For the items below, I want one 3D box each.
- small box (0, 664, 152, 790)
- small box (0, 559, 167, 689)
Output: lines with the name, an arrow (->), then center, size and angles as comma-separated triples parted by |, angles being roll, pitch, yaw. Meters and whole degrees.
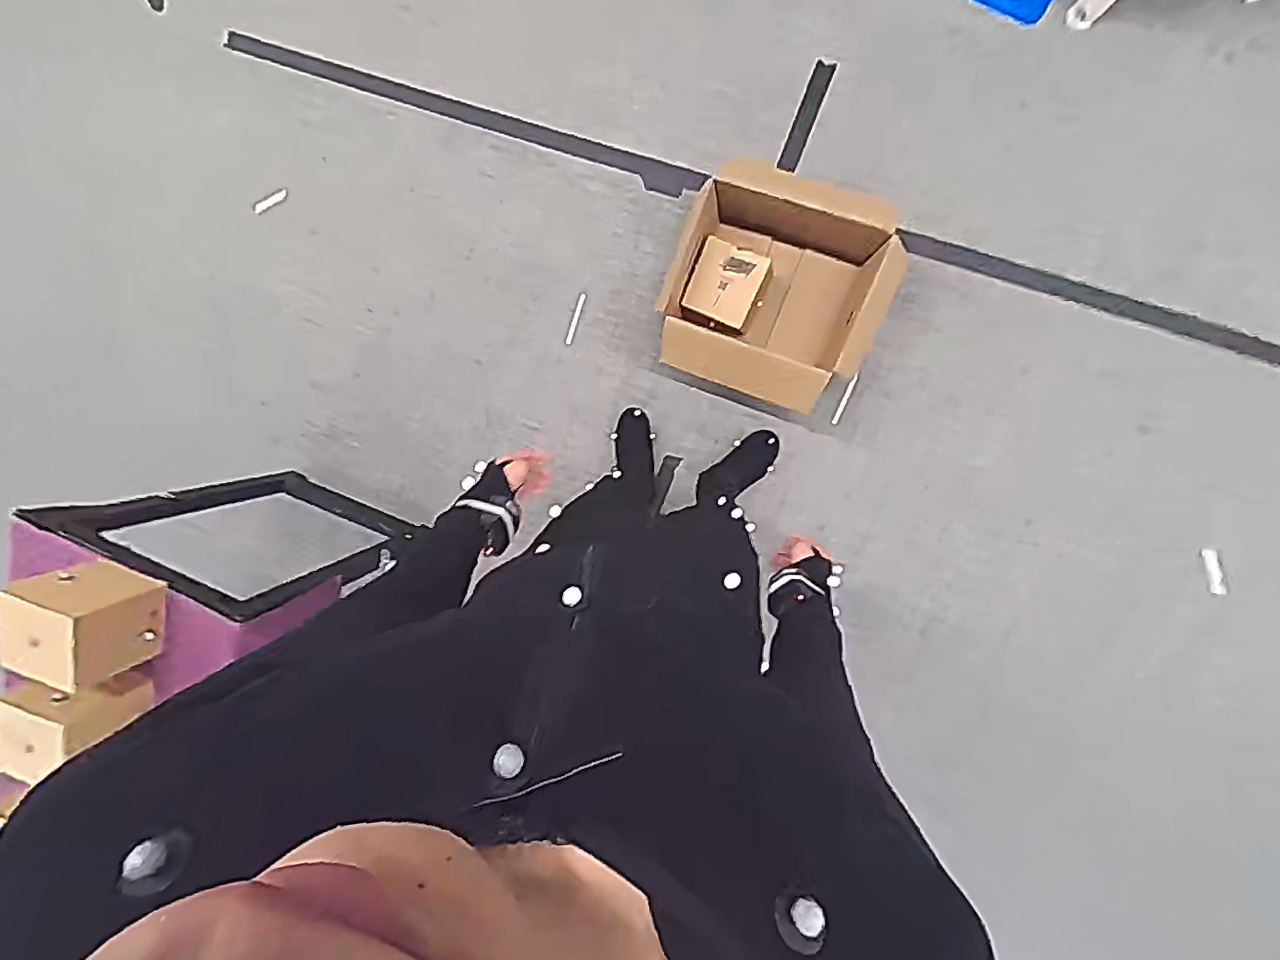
small box -> -1.171, 0.493, 1.126 | 0.179, 0.176, 0.168 | 16, 103, 9
small box -> -1.096, 0.273, 1.070 | 0.179, 0.176, 0.168 | 18, 105, 8
